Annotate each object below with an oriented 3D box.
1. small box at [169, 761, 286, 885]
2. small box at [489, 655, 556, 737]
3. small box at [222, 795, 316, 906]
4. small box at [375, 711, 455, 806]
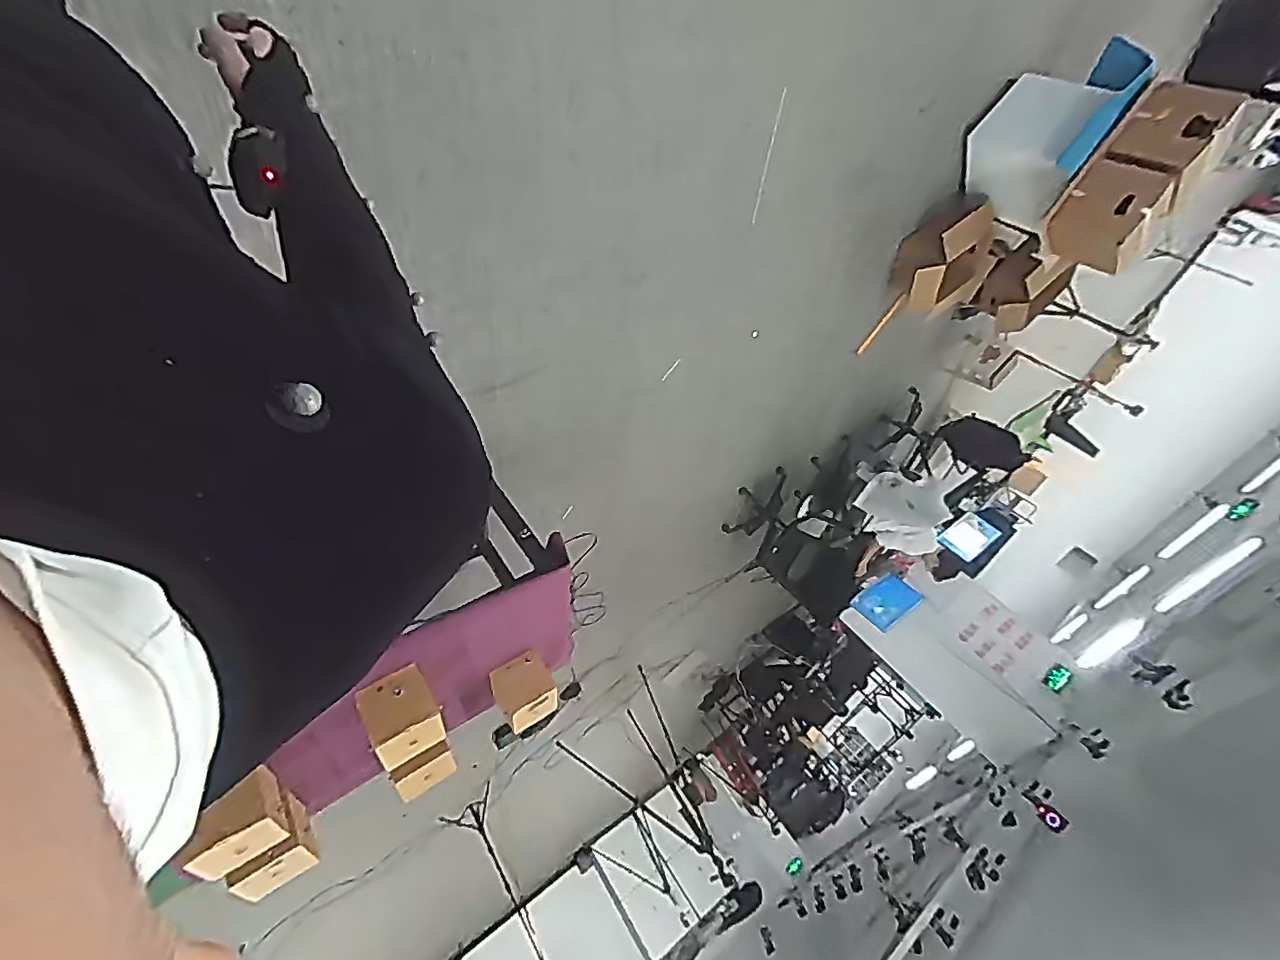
[{"bbox_3d":[-0.970,0.804,1.277,0.168,0.176,0.179,-23,144,-32],"label":"small box"},{"bbox_3d":[-0.397,0.721,1.825,0.168,0.176,0.179,-23,143,-29],"label":"small box"},{"bbox_3d":[-1.005,0.992,1.457,0.168,0.176,0.179,-24,142,-30],"label":"small box"},{"bbox_3d":[-0.684,0.842,1.648,0.168,0.176,0.179,-24,142,-30],"label":"small box"}]
